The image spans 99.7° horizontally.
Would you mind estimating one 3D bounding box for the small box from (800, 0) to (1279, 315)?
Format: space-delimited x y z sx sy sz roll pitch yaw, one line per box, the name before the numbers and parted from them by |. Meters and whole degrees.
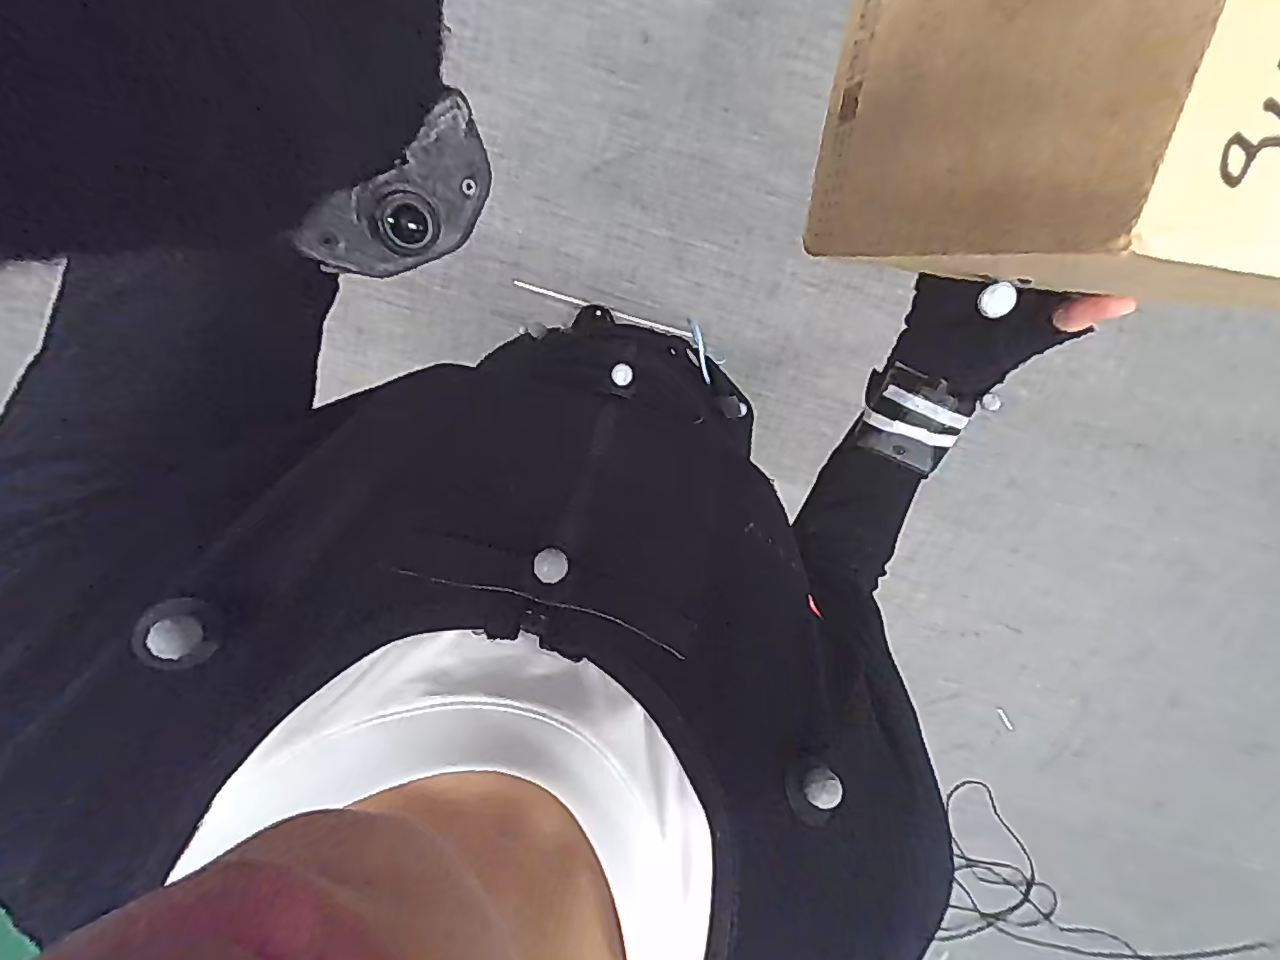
small box | 0.188 -0.156 0.188 0.179 0.176 0.168 3 114 -14
